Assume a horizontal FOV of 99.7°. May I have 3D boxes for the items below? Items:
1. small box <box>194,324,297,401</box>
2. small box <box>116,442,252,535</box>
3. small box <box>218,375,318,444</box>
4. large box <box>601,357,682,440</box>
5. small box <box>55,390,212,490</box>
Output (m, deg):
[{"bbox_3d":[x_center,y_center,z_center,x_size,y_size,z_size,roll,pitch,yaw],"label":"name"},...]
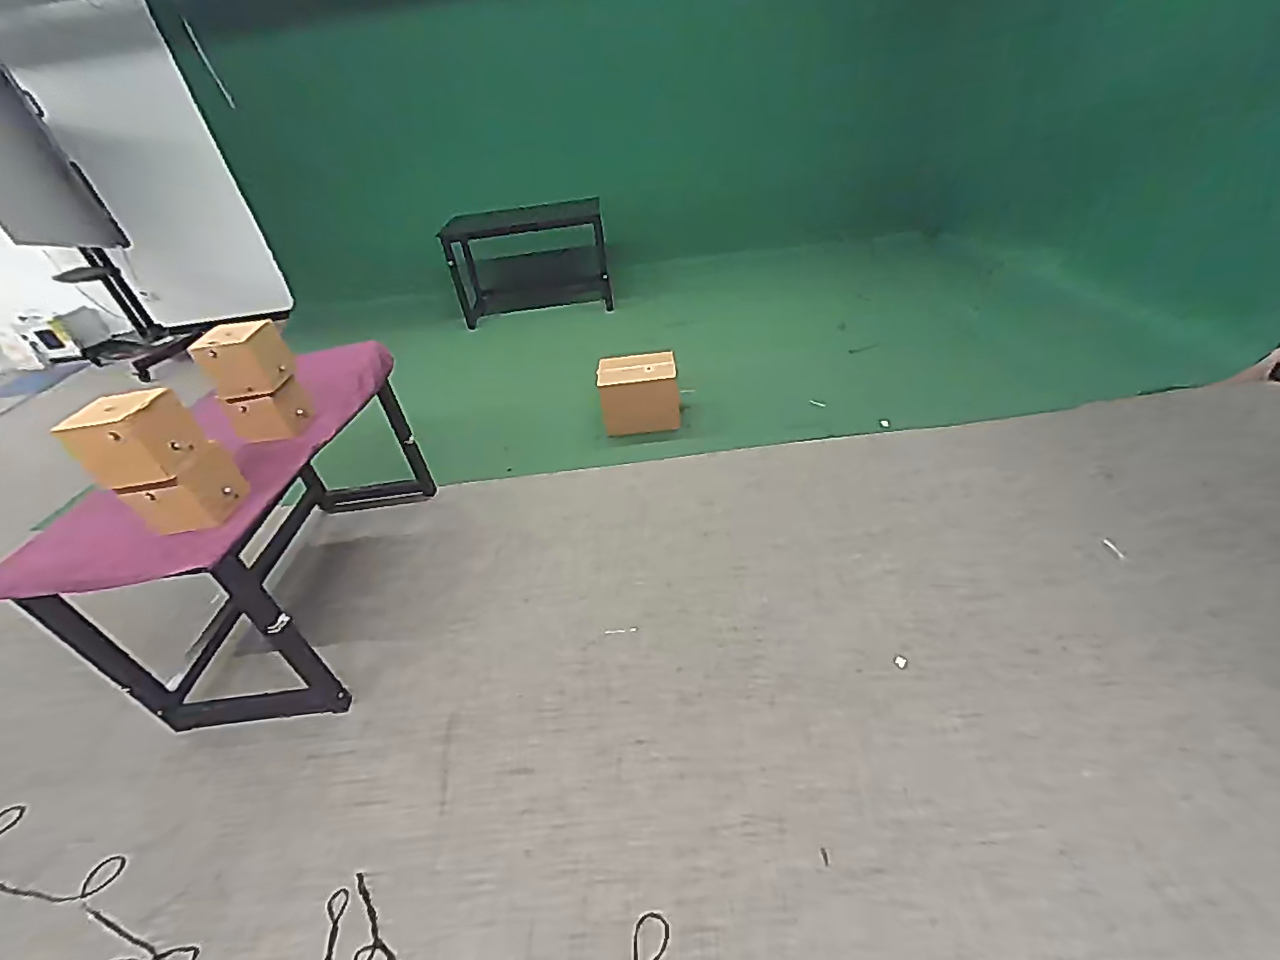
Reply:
[{"bbox_3d":[-1.188,-0.358,1.650,0.168,0.176,0.179,-8,37,0],"label":"small box"},{"bbox_3d":[-1.170,0.025,1.403,0.179,0.176,0.168,-9,37,2],"label":"small box"},{"bbox_3d":[-1.196,-0.229,1.754,0.179,0.176,0.168,-6,37,3],"label":"small box"},{"bbox_3d":[0.010,-0.437,2.895,0.408,0.320,0.320,-5,37,3],"label":"large box"},{"bbox_3d":[-1.198,-0.093,1.295,0.179,0.176,0.168,-9,36,2],"label":"small box"}]
